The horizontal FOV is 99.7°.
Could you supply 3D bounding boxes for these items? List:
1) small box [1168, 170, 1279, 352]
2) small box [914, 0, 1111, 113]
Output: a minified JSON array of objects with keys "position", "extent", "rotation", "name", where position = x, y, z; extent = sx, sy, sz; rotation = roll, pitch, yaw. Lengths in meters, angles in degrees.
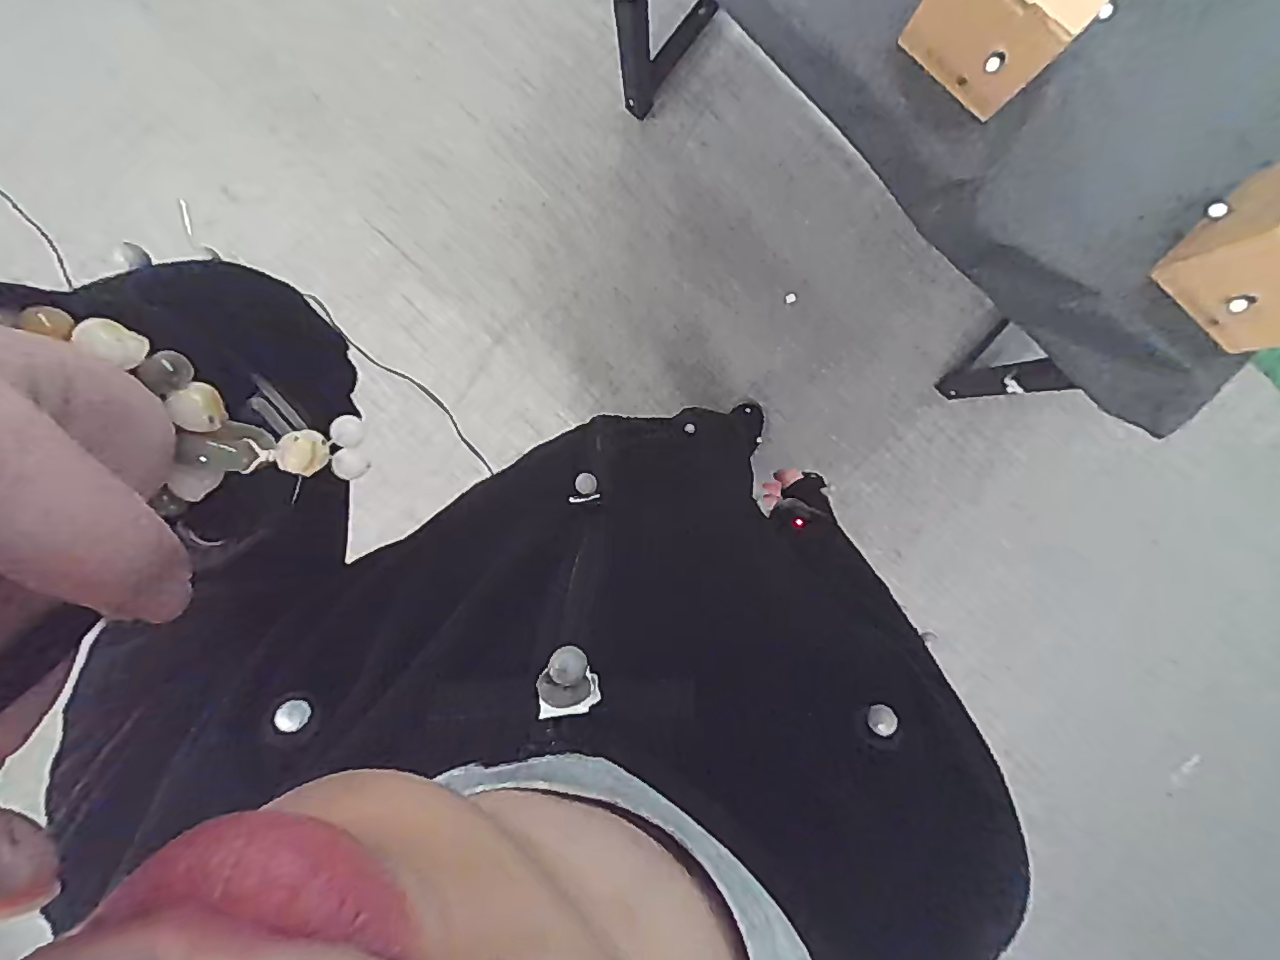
[{"position":[0.814,-0.279,0.657],"extent":[0.168,0.176,0.179],"rotation":[45,96,-1],"name":"small box"},{"position":[0.462,-0.594,0.641],"extent":[0.168,0.176,0.179],"rotation":[41,94,-4],"name":"small box"}]
